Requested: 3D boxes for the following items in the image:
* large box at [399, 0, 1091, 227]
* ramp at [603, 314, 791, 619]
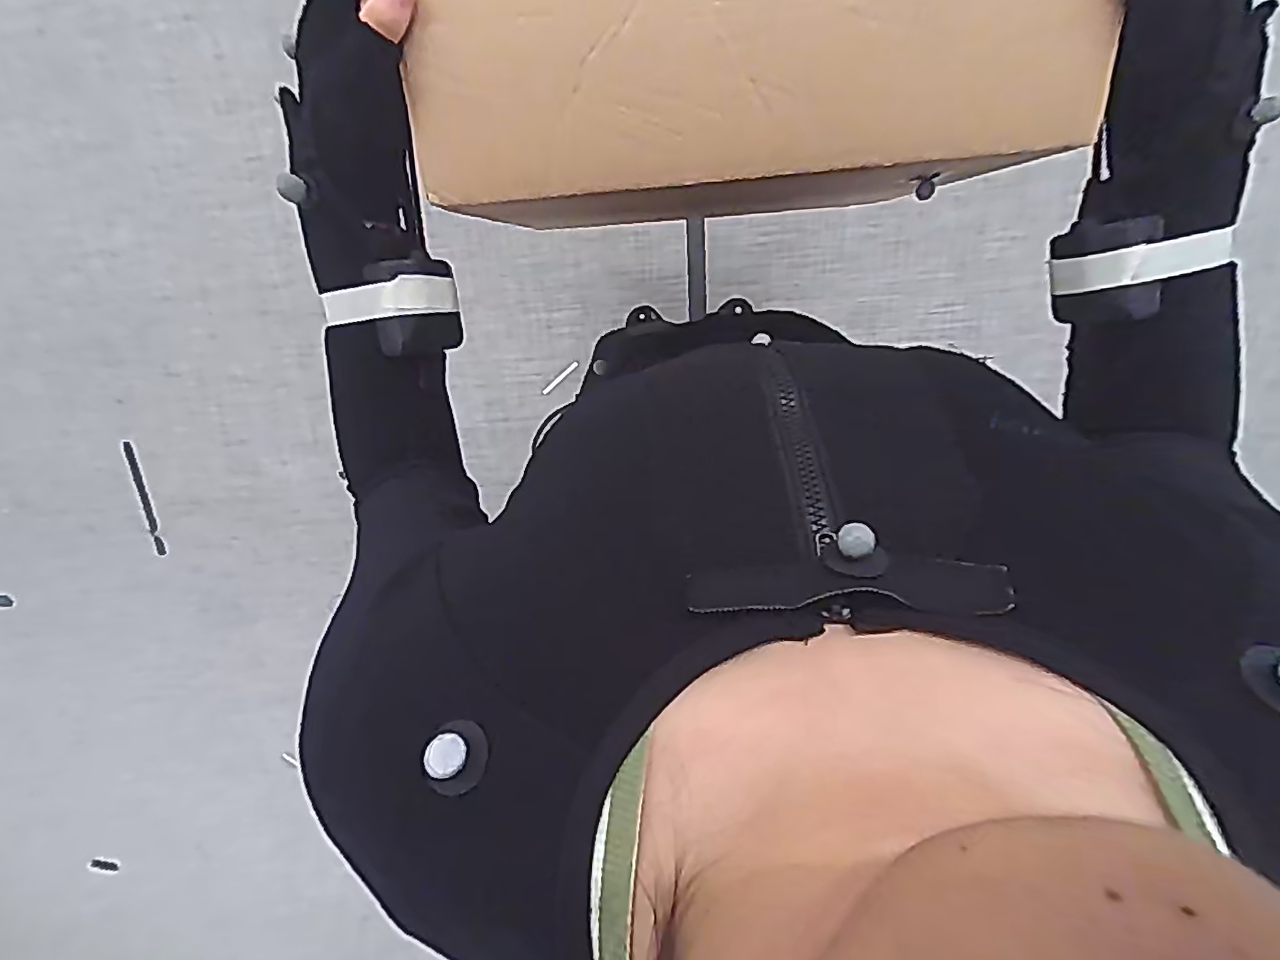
[{"bbox_3d":[0.059,-0.390,0.426,0.408,0.320,0.320,-4,112,4],"label":"large box"},{"bbox_3d":[0.186,0.028,1.623,0.509,0.206,0.991,-5,108,3],"label":"ramp"}]
